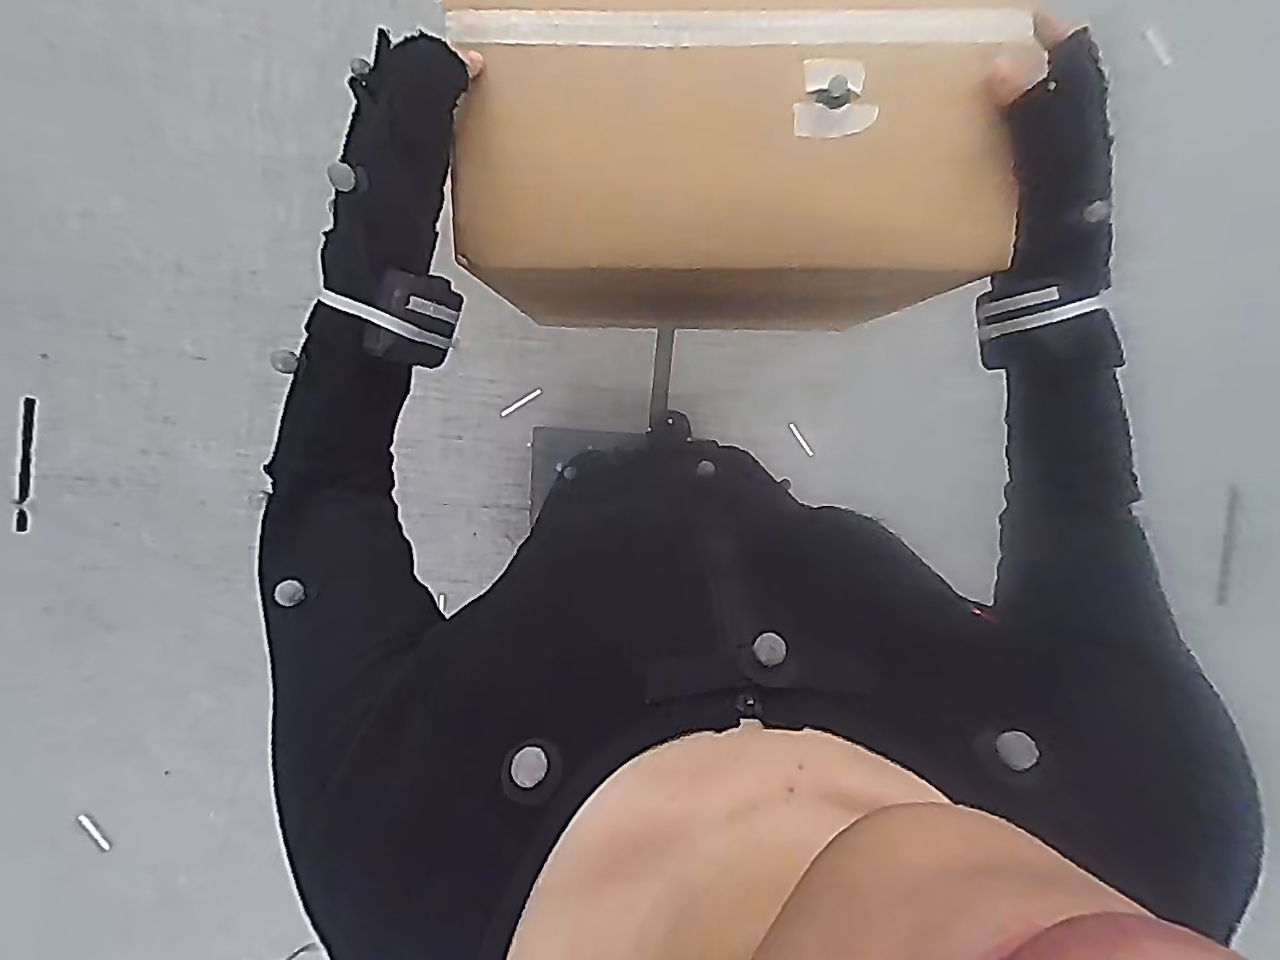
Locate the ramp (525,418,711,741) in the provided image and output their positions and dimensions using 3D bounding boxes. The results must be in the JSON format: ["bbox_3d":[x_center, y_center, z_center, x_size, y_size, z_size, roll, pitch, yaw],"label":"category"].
[{"bbox_3d":[-0.080,0.328,1.586,0.509,0.206,0.991,2,94,-3],"label":"ramp"}]

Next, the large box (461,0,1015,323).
[{"bbox_3d":[0.067,-0.340,0.536,0.408,0.320,0.320,0,98,-1],"label":"large box"}]
